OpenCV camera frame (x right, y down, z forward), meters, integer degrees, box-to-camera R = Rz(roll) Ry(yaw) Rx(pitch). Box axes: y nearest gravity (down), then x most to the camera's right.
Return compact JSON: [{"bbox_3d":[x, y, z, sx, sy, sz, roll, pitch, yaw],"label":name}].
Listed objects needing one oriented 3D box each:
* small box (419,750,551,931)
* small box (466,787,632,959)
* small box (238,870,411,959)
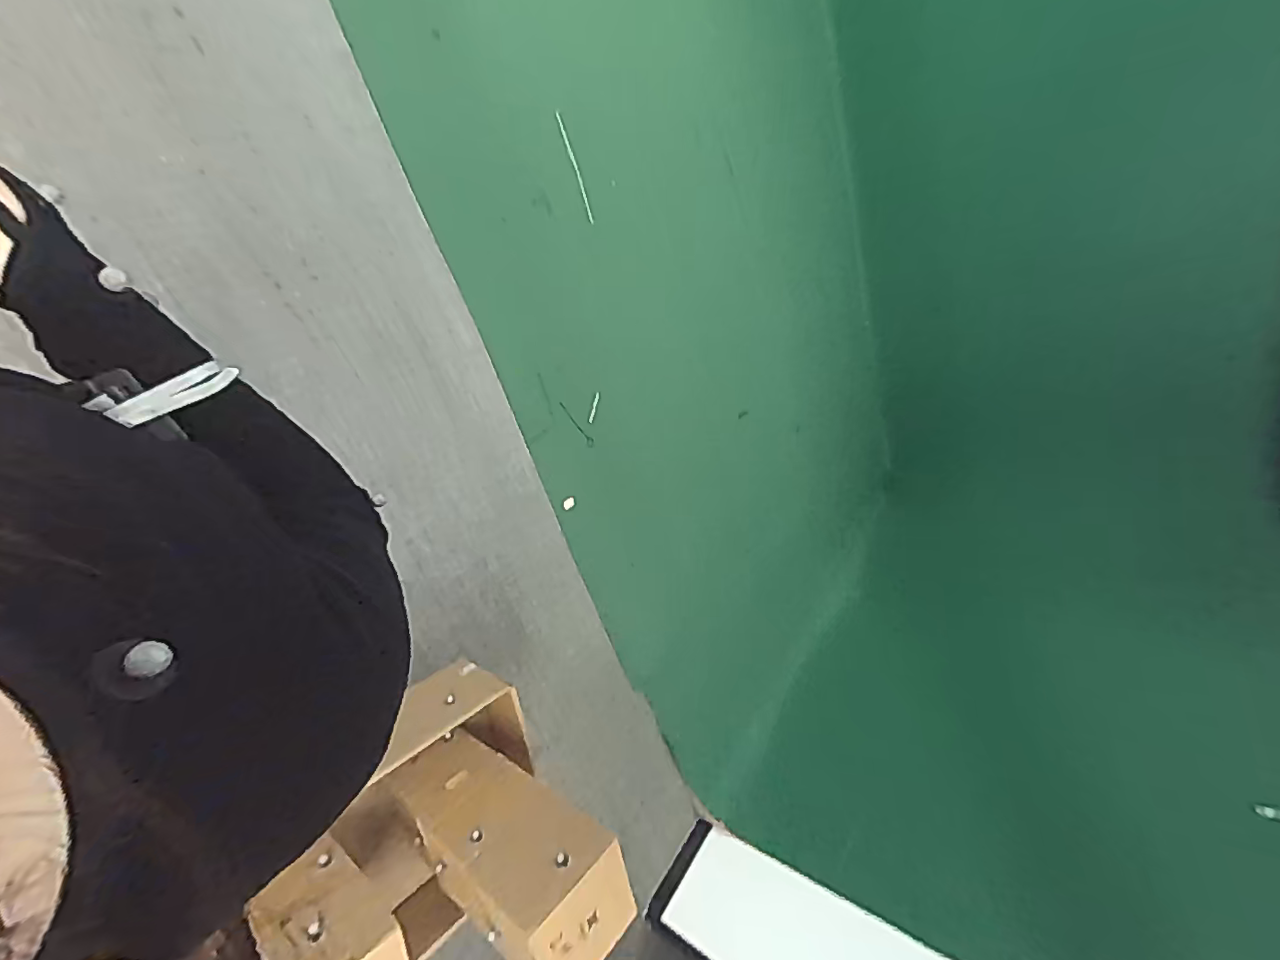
[{"bbox_3d":[-0.262,0.630,0.973,0.179,0.176,0.168,-26,112,-42],"label":"small box"},{"bbox_3d":[-0.143,0.638,0.859,0.179,0.176,0.168,-27,112,-42],"label":"small box"},{"bbox_3d":[-0.444,0.708,0.773,0.168,0.176,0.179,-17,105,-46],"label":"small box"}]
